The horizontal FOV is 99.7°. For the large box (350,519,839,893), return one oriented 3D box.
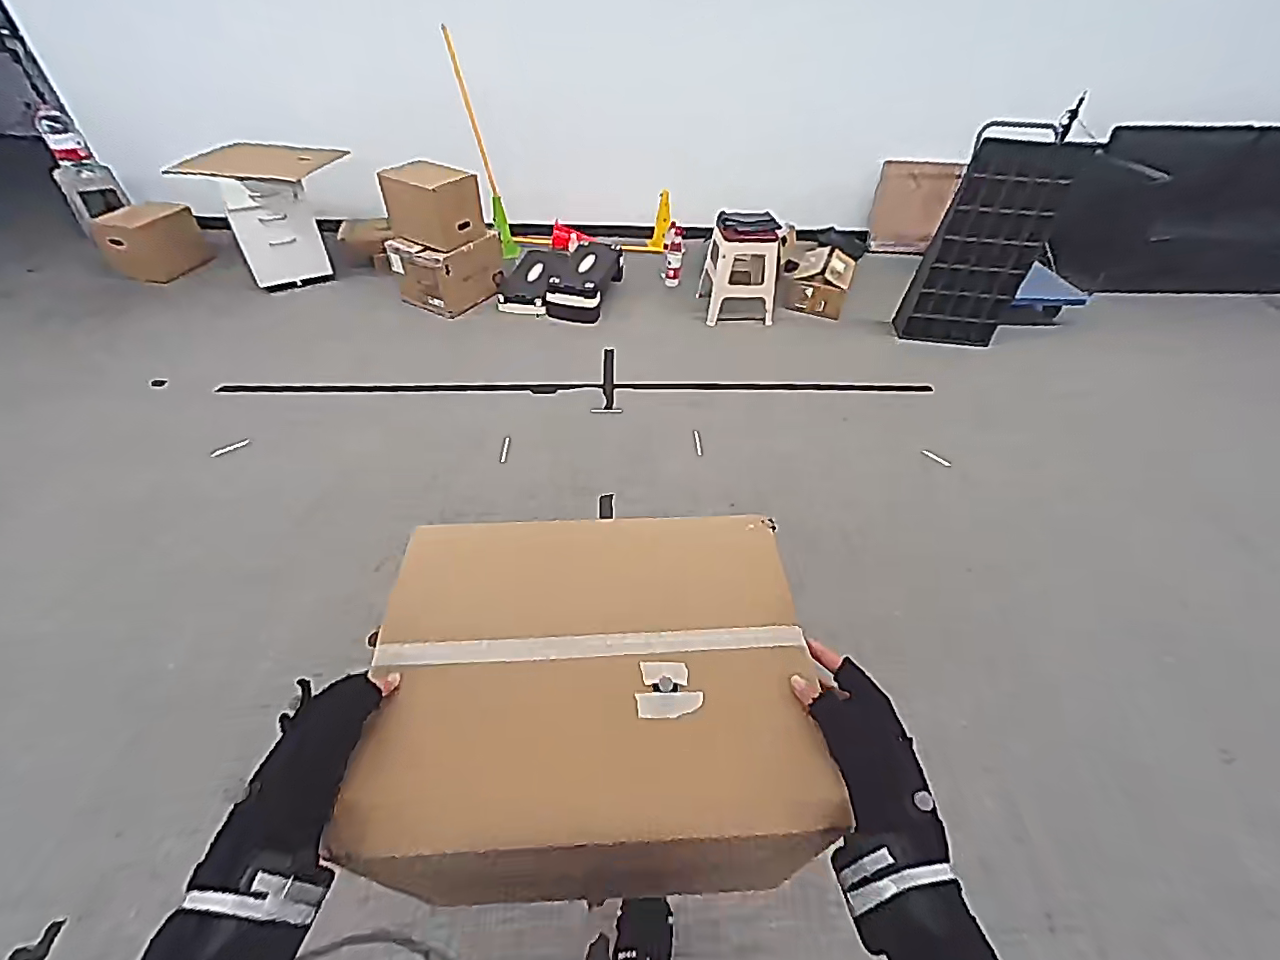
[{"bbox_3d":[-0.045,0.266,0.641,0.408,0.320,0.320,-1,47,-3],"label":"large box"}]
